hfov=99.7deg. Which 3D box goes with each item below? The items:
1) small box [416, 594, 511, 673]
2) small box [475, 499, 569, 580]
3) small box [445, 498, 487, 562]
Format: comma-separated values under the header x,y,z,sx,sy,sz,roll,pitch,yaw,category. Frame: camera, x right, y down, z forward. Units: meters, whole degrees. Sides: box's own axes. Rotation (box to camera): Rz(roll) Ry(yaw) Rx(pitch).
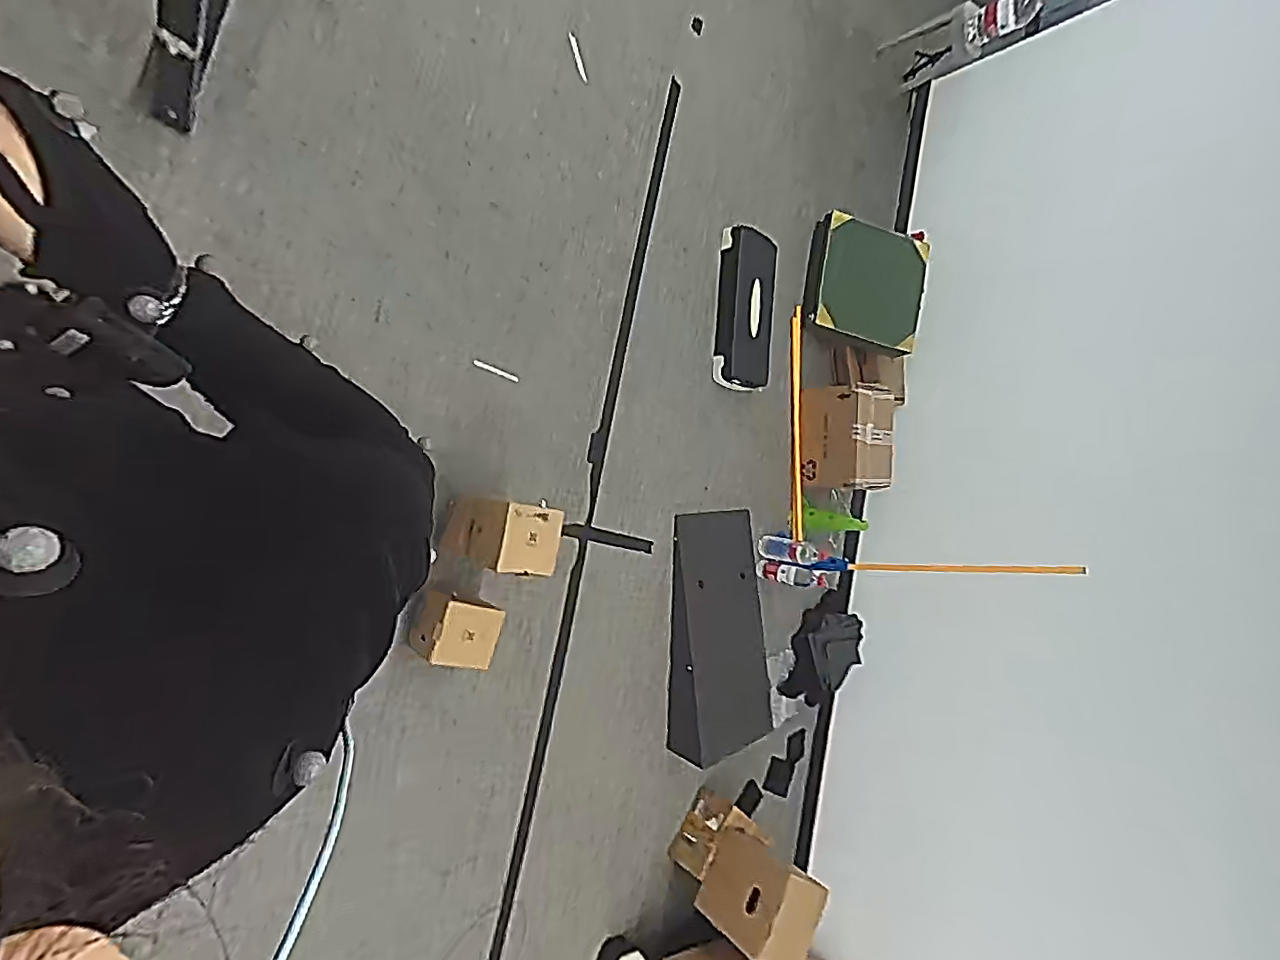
x,y,z,sx,sy,sz,roll,pitch,yaw,category
-0.495,0.423,1.504,0.179,0.176,0.168,25,77,-41,small box
-0.316,0.155,1.423,0.168,0.176,0.179,14,84,-42,small box
-0.429,0.151,1.542,0.179,0.176,0.168,20,79,-42,small box
